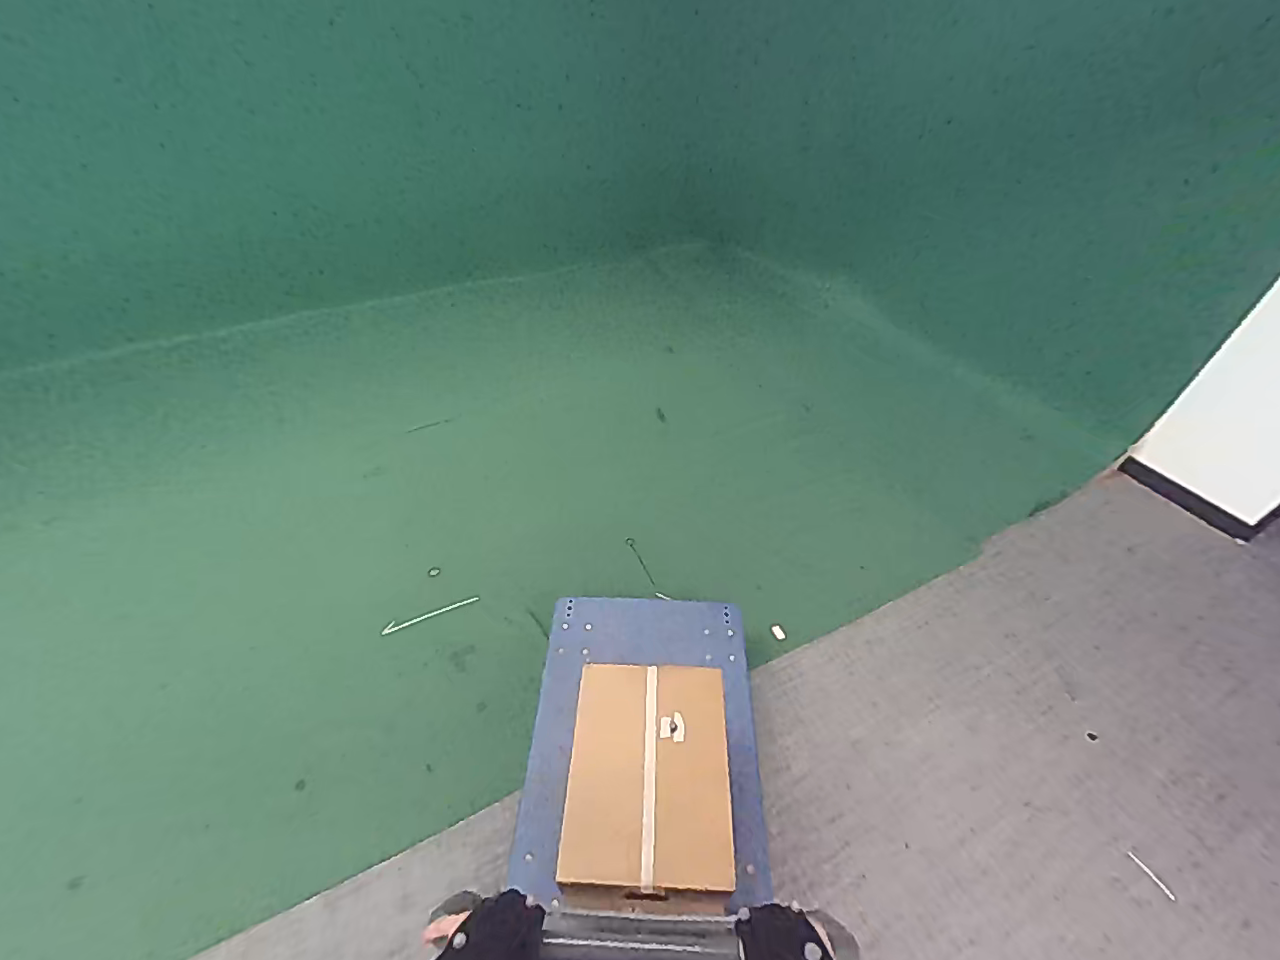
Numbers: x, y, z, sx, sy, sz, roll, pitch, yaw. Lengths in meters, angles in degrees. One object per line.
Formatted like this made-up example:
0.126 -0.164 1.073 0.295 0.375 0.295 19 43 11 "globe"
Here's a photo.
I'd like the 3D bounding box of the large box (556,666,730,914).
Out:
0.012 0.674 1.187 0.320 0.320 0.408 2 43 2 "large box"
